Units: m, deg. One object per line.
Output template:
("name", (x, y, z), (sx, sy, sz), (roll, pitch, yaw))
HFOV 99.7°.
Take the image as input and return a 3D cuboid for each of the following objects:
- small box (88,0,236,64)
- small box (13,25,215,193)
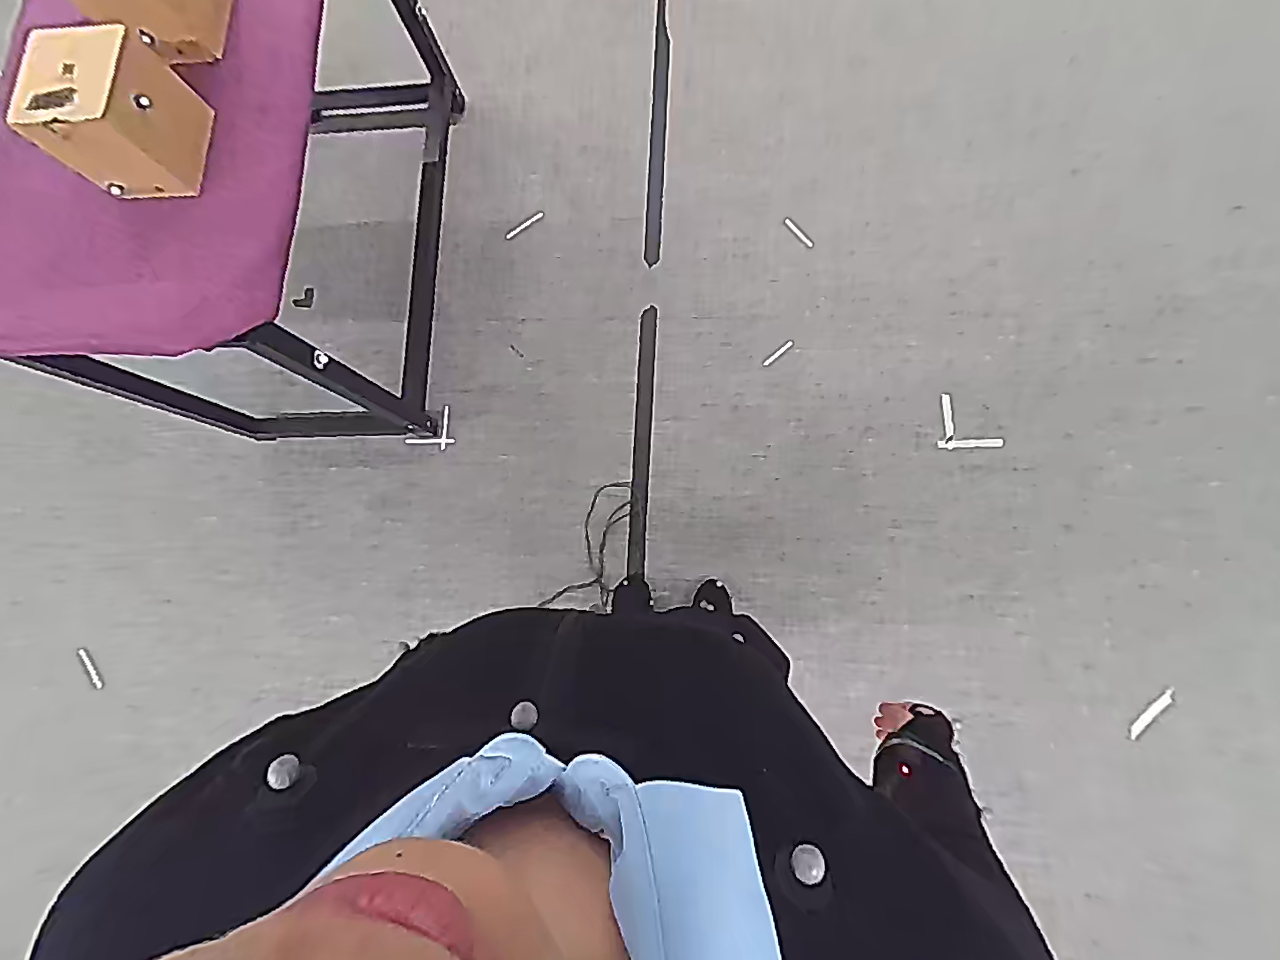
("small box", (-0.870, -0.893, 0.965), (0.168, 0.176, 0.179), (2, 81, 5))
("small box", (-0.870, -0.612, 0.914), (0.168, 0.176, 0.179), (1, 79, 5))
